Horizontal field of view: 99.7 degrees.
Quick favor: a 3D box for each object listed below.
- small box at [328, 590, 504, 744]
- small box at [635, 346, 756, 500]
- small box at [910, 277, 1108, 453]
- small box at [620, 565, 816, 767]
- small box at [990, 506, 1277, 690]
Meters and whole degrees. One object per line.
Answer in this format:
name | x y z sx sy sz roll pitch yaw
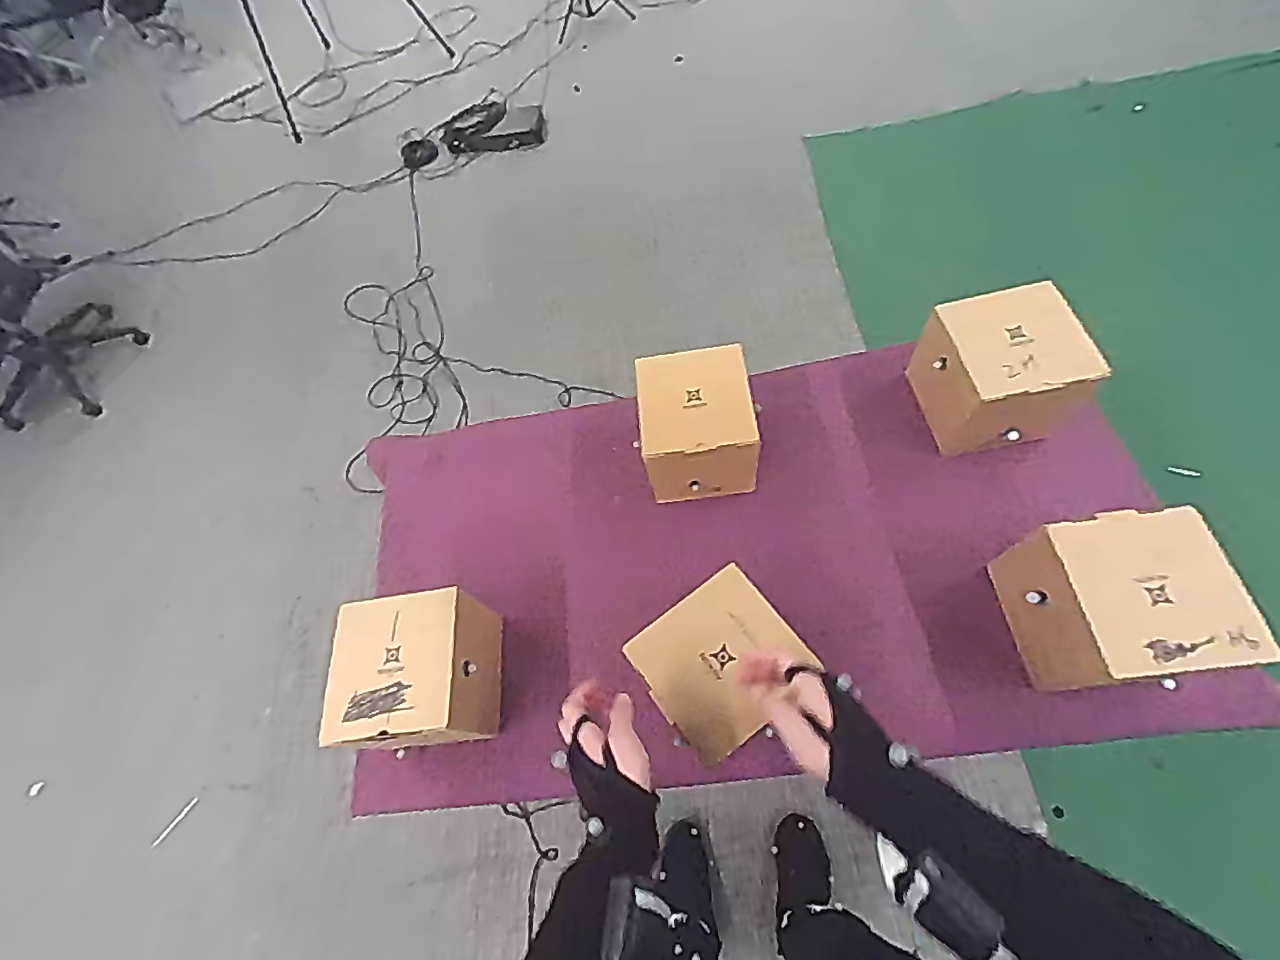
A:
small box | -0.302 0.271 0.768 0.168 0.176 0.179 -10 62 6
small box | 0.088 -0.085 0.869 0.168 0.176 0.179 -8 66 6
small box | 0.533 -0.166 0.817 0.168 0.176 0.179 -12 64 8
small box | 0.102 0.245 0.707 0.179 0.176 0.168 -36 65 -8
small box | 0.568 0.151 0.661 0.168 0.176 0.179 -9 64 8
